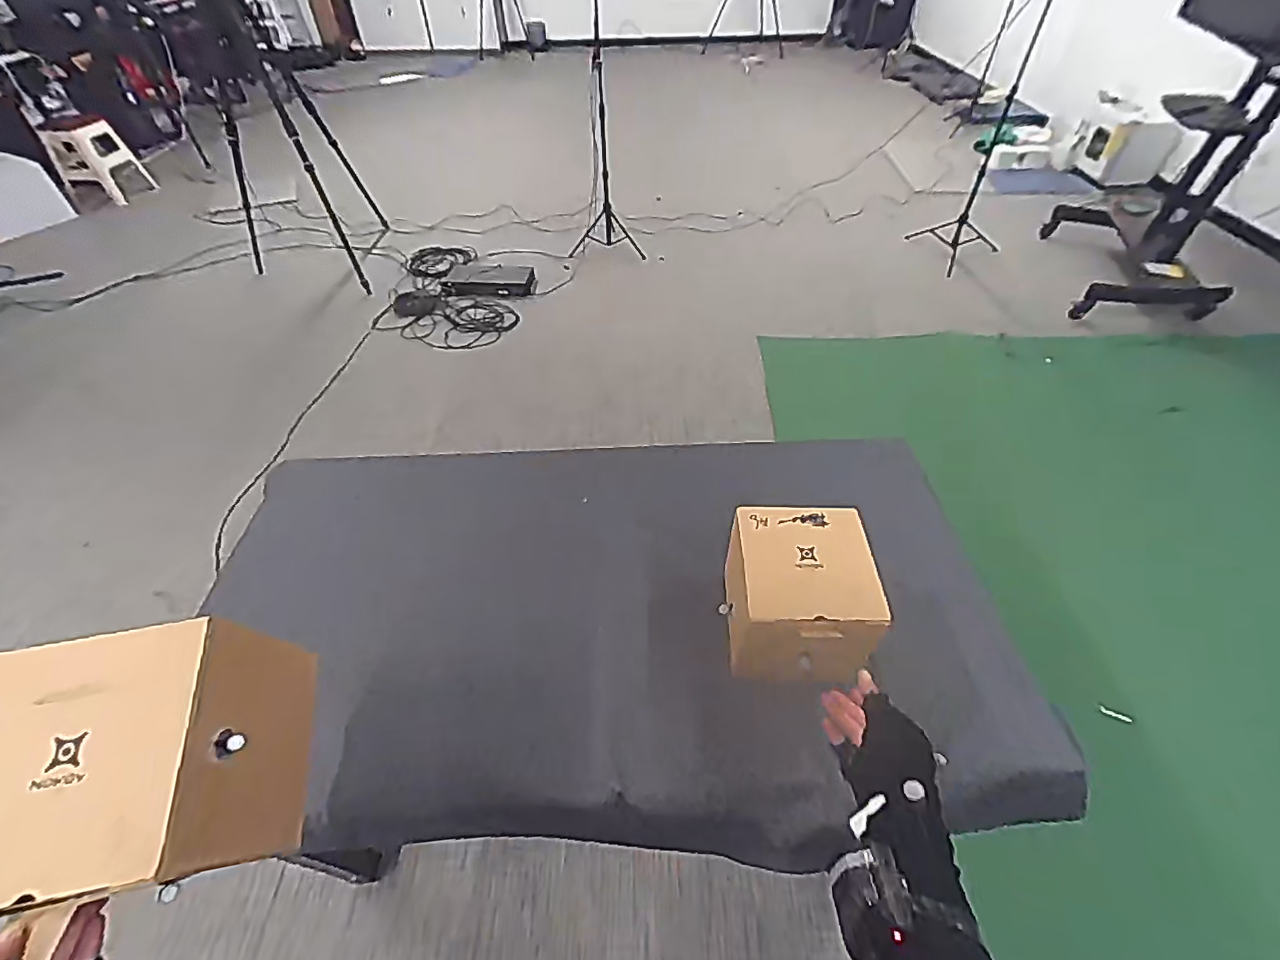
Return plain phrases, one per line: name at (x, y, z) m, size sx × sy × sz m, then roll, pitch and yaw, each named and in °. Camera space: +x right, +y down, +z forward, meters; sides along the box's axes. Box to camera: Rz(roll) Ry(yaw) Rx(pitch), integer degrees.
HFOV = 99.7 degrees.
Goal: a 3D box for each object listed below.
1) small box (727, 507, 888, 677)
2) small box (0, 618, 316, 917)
small box at (0.213, 0.156, 0.740) m, size 0.168 × 0.176 × 0.179 m, roll 1°, pitch 48°, yaw 2°
small box at (-0.399, 0.233, 0.449) m, size 0.168 × 0.176 × 0.179 m, roll -9°, pitch 61°, yaw -5°
